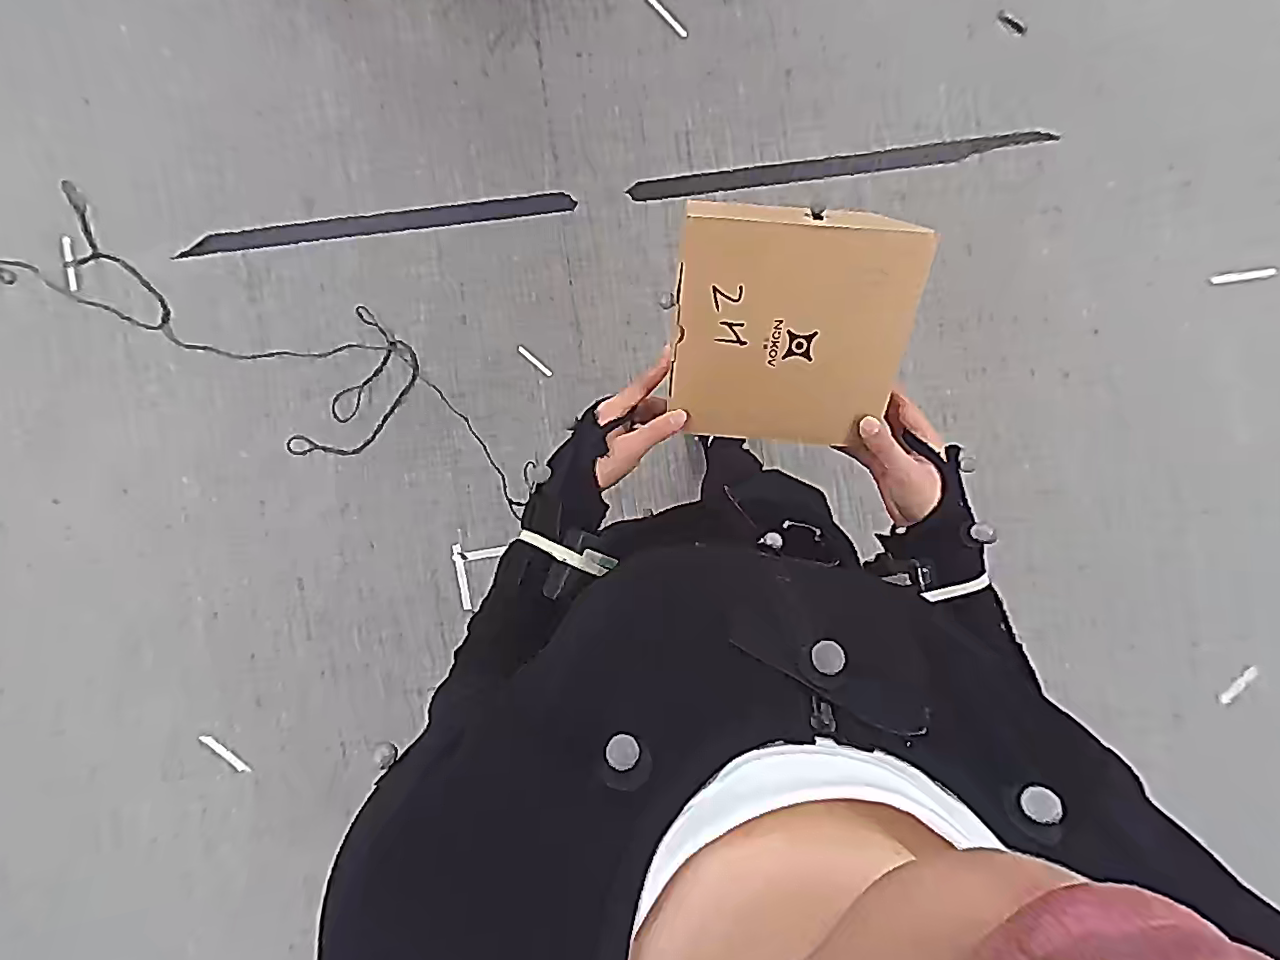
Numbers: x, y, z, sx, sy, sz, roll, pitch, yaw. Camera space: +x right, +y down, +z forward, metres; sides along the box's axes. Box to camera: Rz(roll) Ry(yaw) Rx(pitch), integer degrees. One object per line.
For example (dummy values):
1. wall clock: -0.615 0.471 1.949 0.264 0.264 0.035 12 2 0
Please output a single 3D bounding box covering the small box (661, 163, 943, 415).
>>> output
1. small box: 0.112 -0.168 0.457 0.179 0.176 0.168 4 122 4
